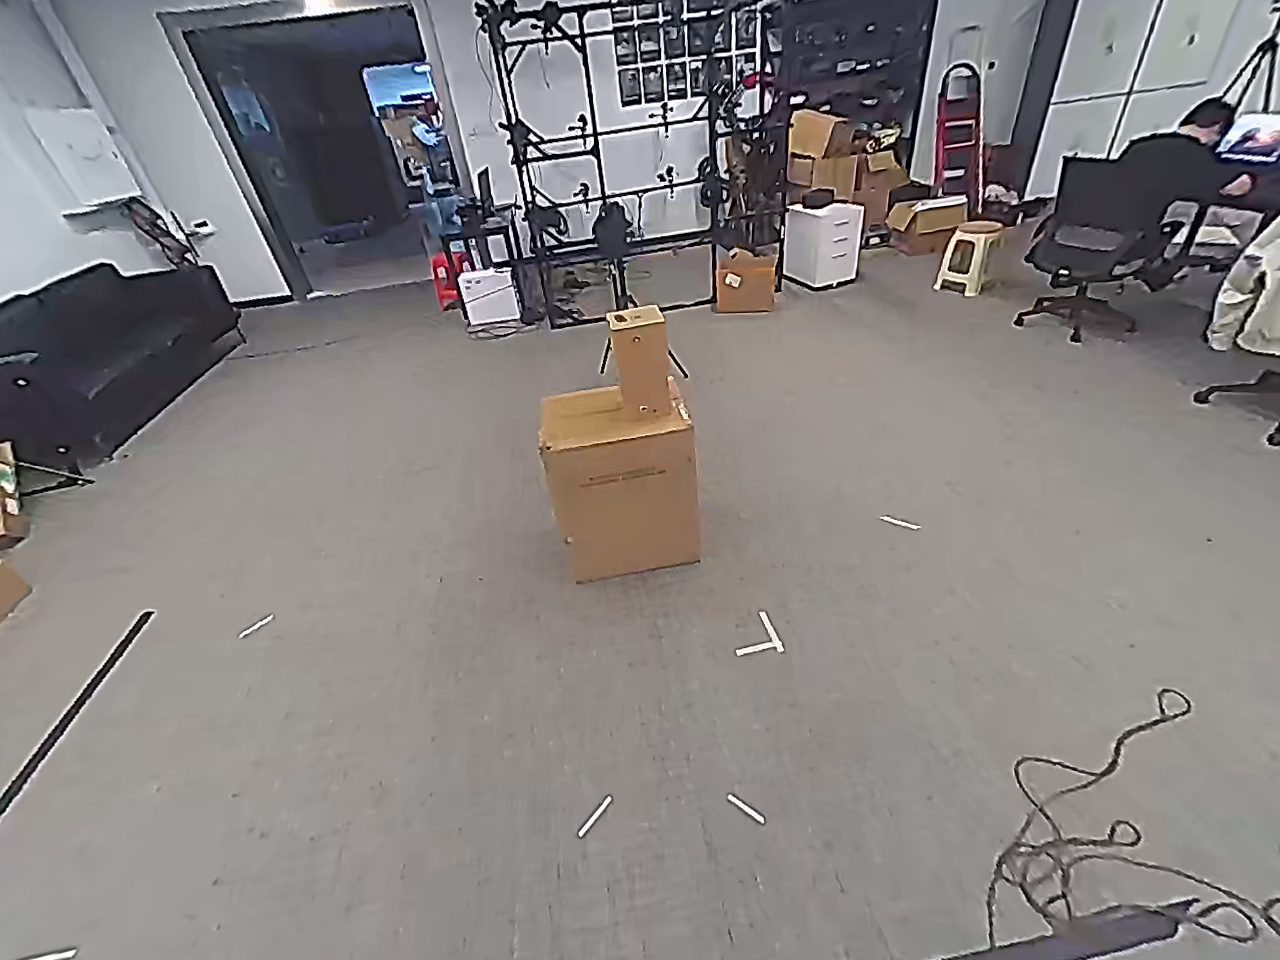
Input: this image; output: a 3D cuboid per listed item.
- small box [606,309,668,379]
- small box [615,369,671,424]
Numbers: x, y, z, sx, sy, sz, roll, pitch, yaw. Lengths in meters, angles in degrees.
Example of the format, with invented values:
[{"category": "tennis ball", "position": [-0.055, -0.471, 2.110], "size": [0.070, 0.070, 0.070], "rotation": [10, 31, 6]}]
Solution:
[{"category": "small box", "position": [-0.009, -0.450, 1.803], "size": [0.179, 0.176, 0.168], "rotation": [-11, 36, -2]}, {"category": "small box", "position": [0.009, -0.318, 1.900], "size": [0.168, 0.176, 0.179], "rotation": [-12, 37, -2]}]
